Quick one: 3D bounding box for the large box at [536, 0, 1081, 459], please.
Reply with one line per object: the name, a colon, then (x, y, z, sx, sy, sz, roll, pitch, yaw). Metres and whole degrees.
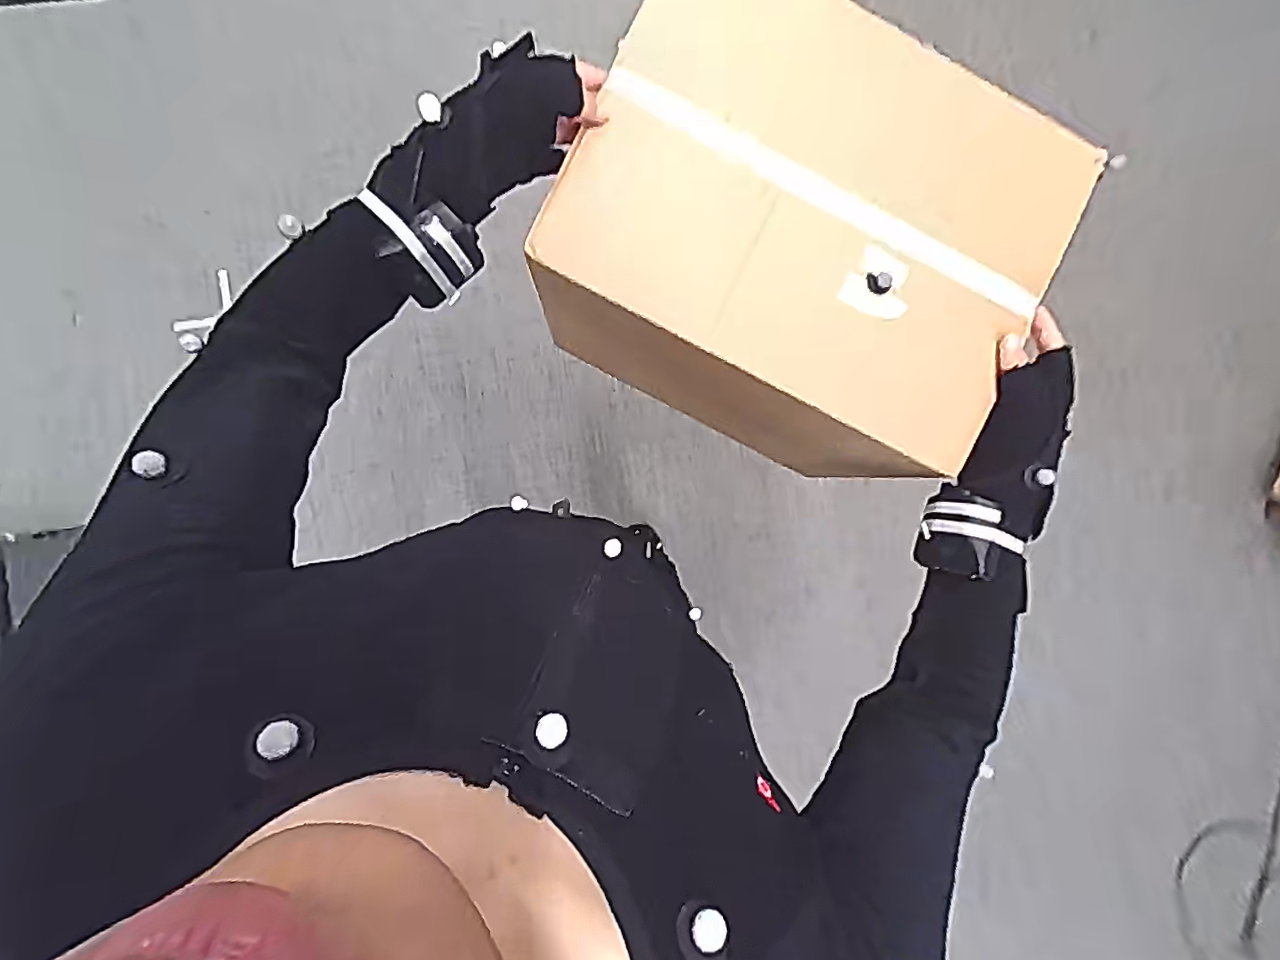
large box: (0.138, -0.244, 0.606, 0.408, 0.320, 0.320, 25, 89, -5)
